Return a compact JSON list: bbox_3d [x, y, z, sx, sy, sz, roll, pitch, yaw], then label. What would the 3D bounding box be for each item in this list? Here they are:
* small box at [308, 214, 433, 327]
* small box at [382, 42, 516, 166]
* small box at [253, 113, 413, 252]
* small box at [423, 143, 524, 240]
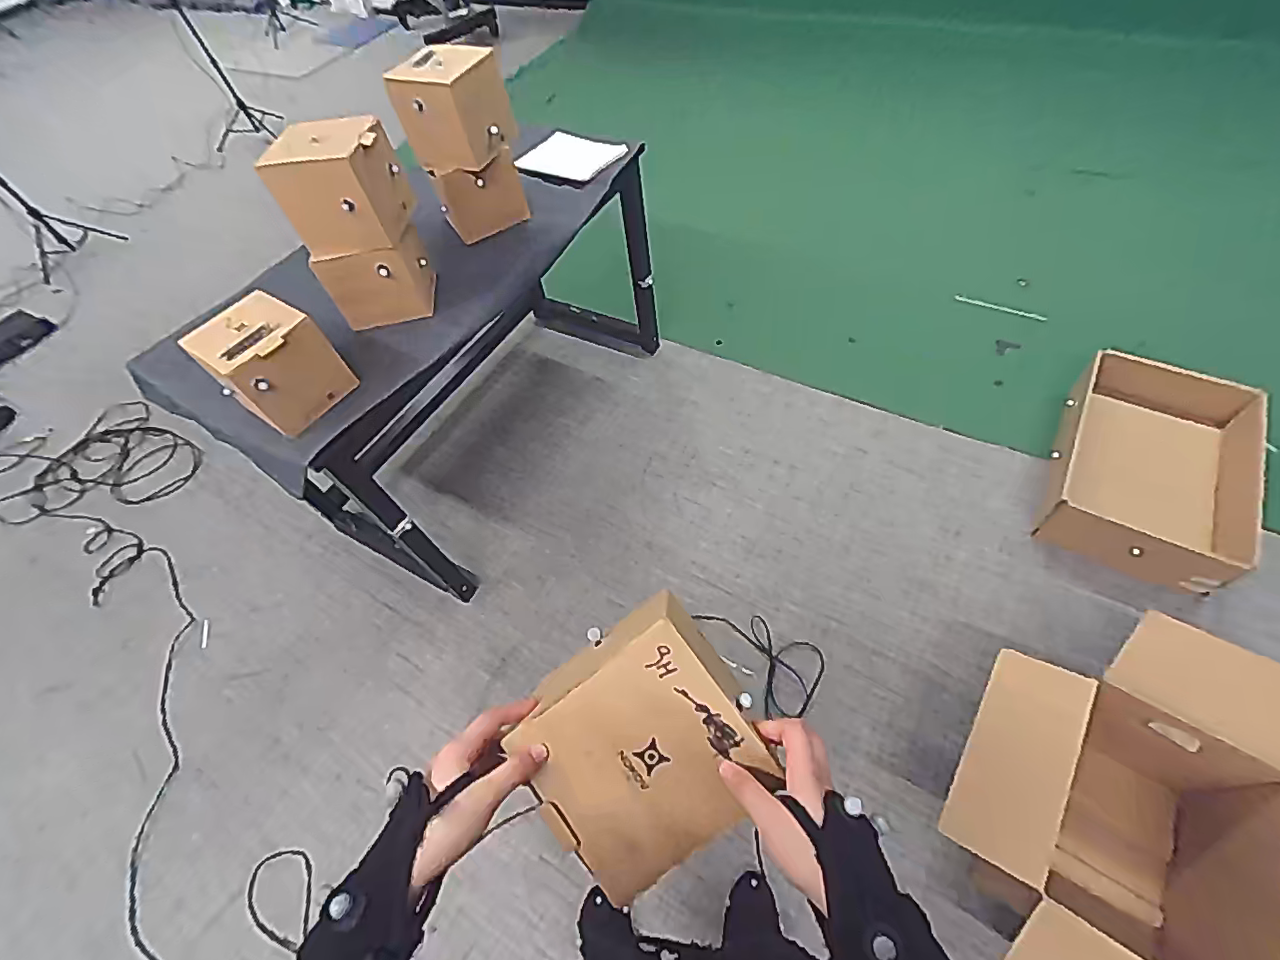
[{"bbox_3d":[-0.554,-0.451,1.141,0.179,0.176,0.168,-12,55,-1],"label":"small box"},{"bbox_3d":[-0.398,-0.799,1.155,0.179,0.176,0.168,19,62,18],"label":"small box"},{"bbox_3d":[-0.556,-0.551,1.011,0.179,0.176,0.168,-2,55,6],"label":"small box"},{"bbox_3d":[-0.394,-0.713,1.296,0.179,0.176,0.168,-30,58,-11],"label":"small box"}]
